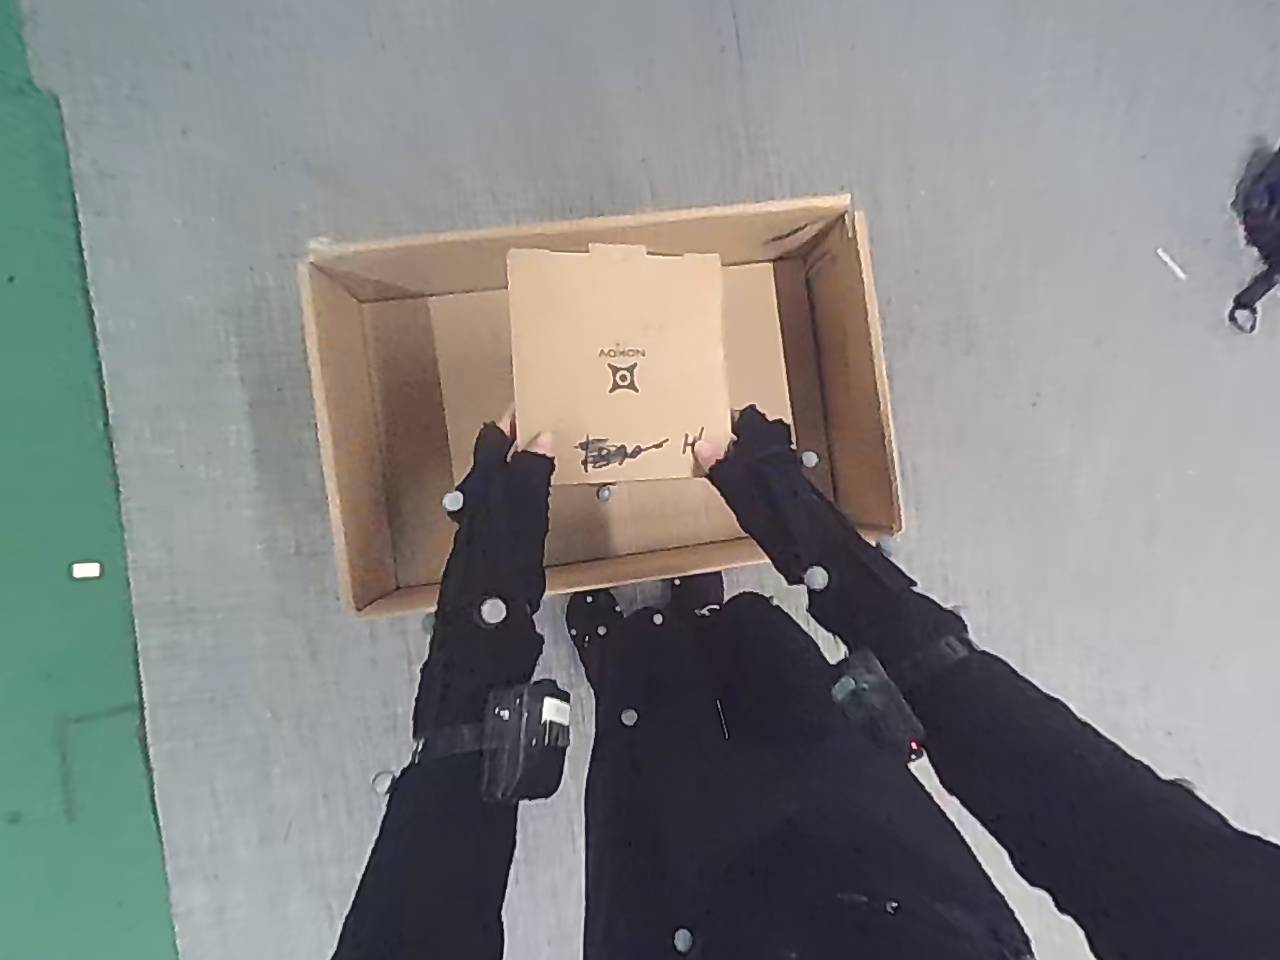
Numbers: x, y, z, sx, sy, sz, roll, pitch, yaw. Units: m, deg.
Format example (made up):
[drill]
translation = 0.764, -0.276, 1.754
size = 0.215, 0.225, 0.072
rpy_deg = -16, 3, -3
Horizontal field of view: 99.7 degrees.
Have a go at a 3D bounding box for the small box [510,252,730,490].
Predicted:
[small box]
translation = -0.028, -0.082, 0.486
size = 0.168, 0.176, 0.179
rpy_deg = -3, 90, -10
